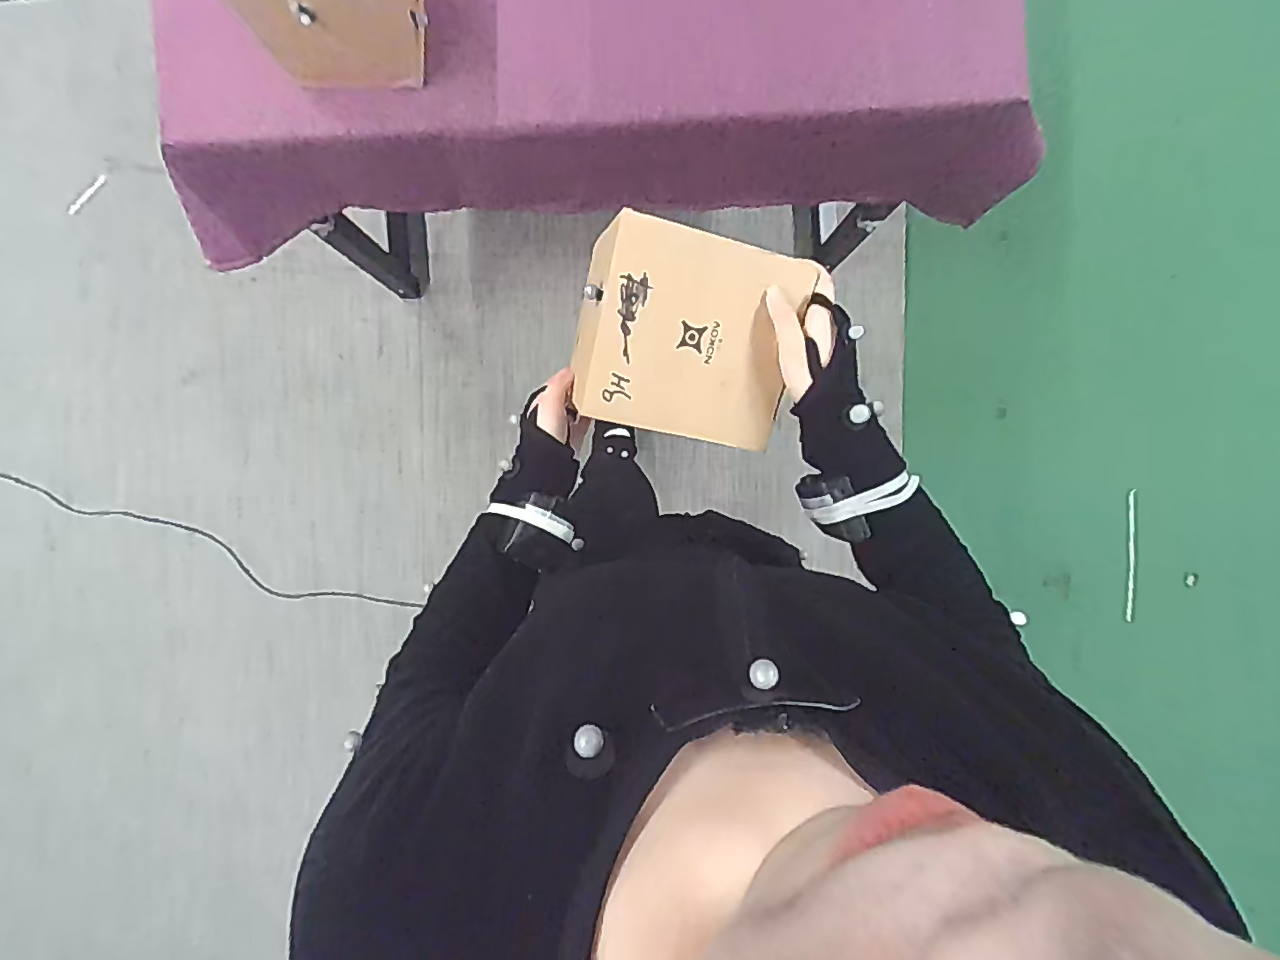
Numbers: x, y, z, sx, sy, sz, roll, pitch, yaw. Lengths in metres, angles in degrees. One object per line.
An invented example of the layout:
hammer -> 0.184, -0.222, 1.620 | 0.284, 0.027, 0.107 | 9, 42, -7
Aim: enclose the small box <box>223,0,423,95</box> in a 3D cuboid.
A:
small box -> -0.387, -0.611, 0.665 | 0.179, 0.176, 0.168 | 0, 91, -2
